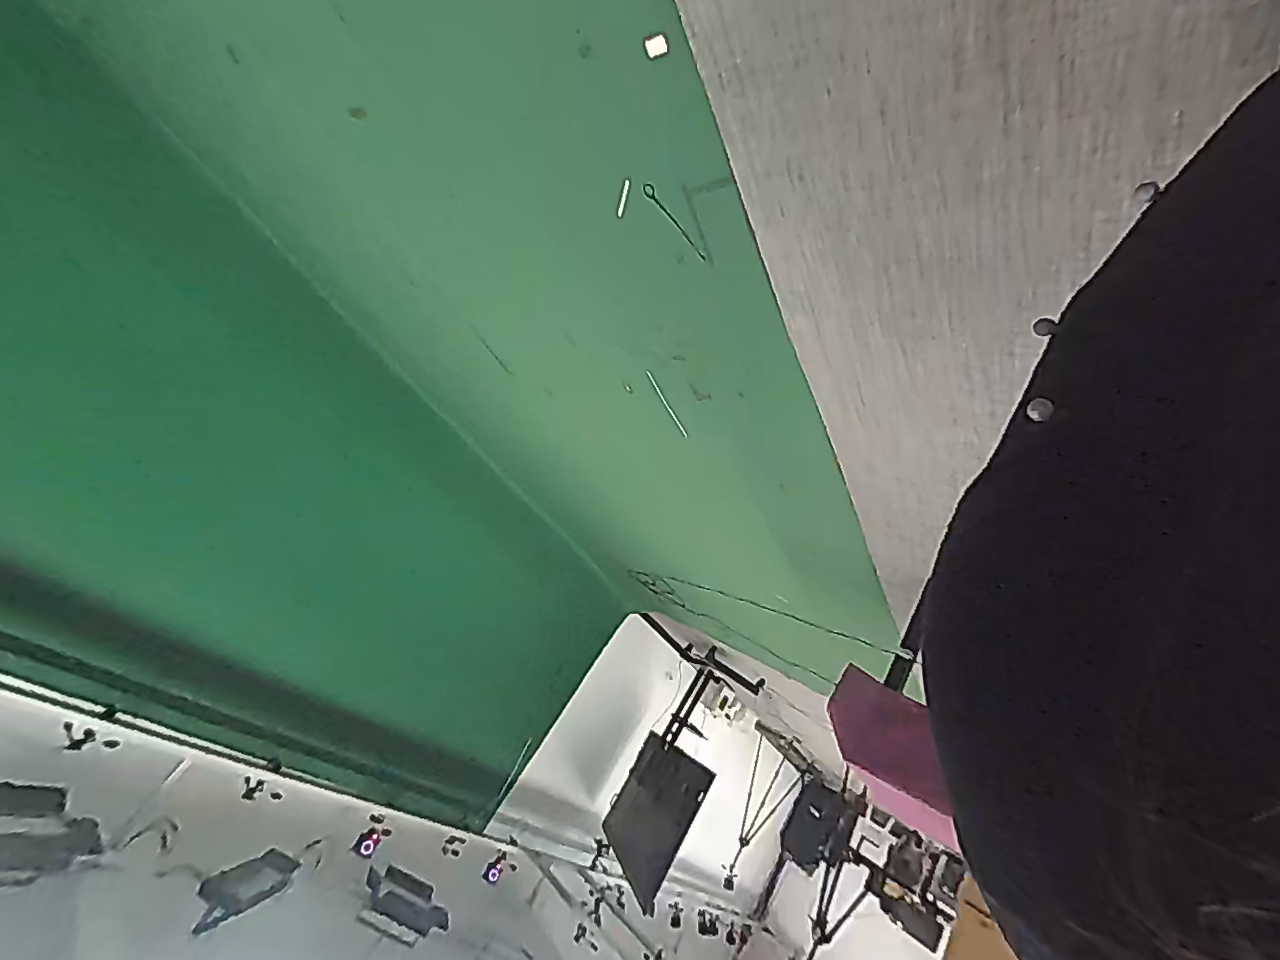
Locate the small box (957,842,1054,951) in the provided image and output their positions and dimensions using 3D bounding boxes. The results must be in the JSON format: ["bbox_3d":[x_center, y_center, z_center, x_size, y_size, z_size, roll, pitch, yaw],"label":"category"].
[{"bbox_3d":[0.979,1.105,1.449,0.179,0.176,0.168,14,151,44],"label":"small box"}]
